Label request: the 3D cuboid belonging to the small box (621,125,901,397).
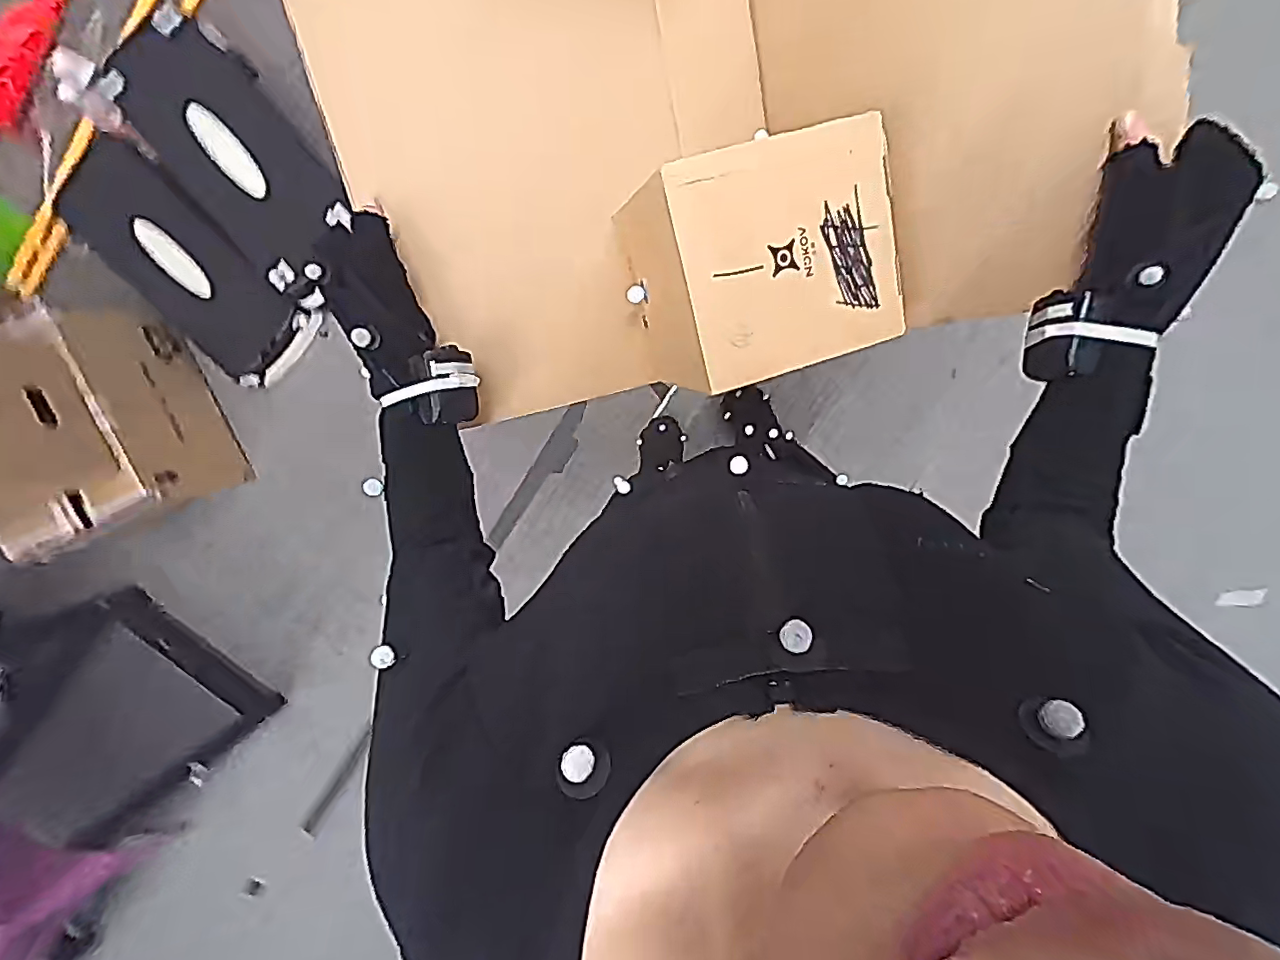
[{"bbox_3d":[0.098,-0.184,0.484,0.179,0.176,0.168,-18,108,-8],"label":"small box"}]
